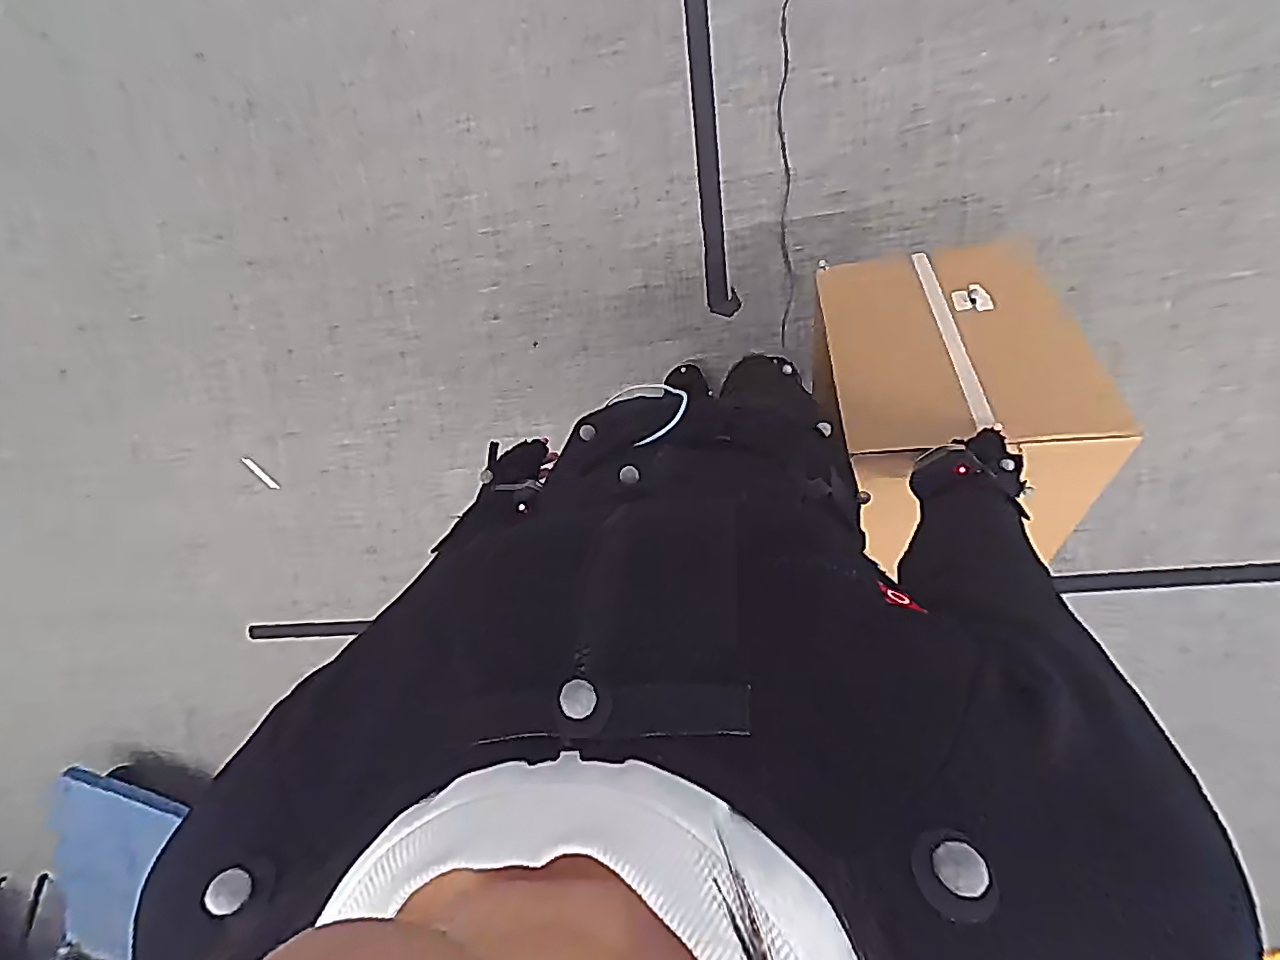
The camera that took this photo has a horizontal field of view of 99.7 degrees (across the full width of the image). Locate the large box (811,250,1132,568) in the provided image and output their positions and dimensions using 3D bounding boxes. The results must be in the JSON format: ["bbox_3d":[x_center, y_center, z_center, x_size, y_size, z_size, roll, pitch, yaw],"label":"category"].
[{"bbox_3d":[0.463,-0.107,0.881,0.320,0.408,0.320,-3,142,12],"label":"large box"}]
